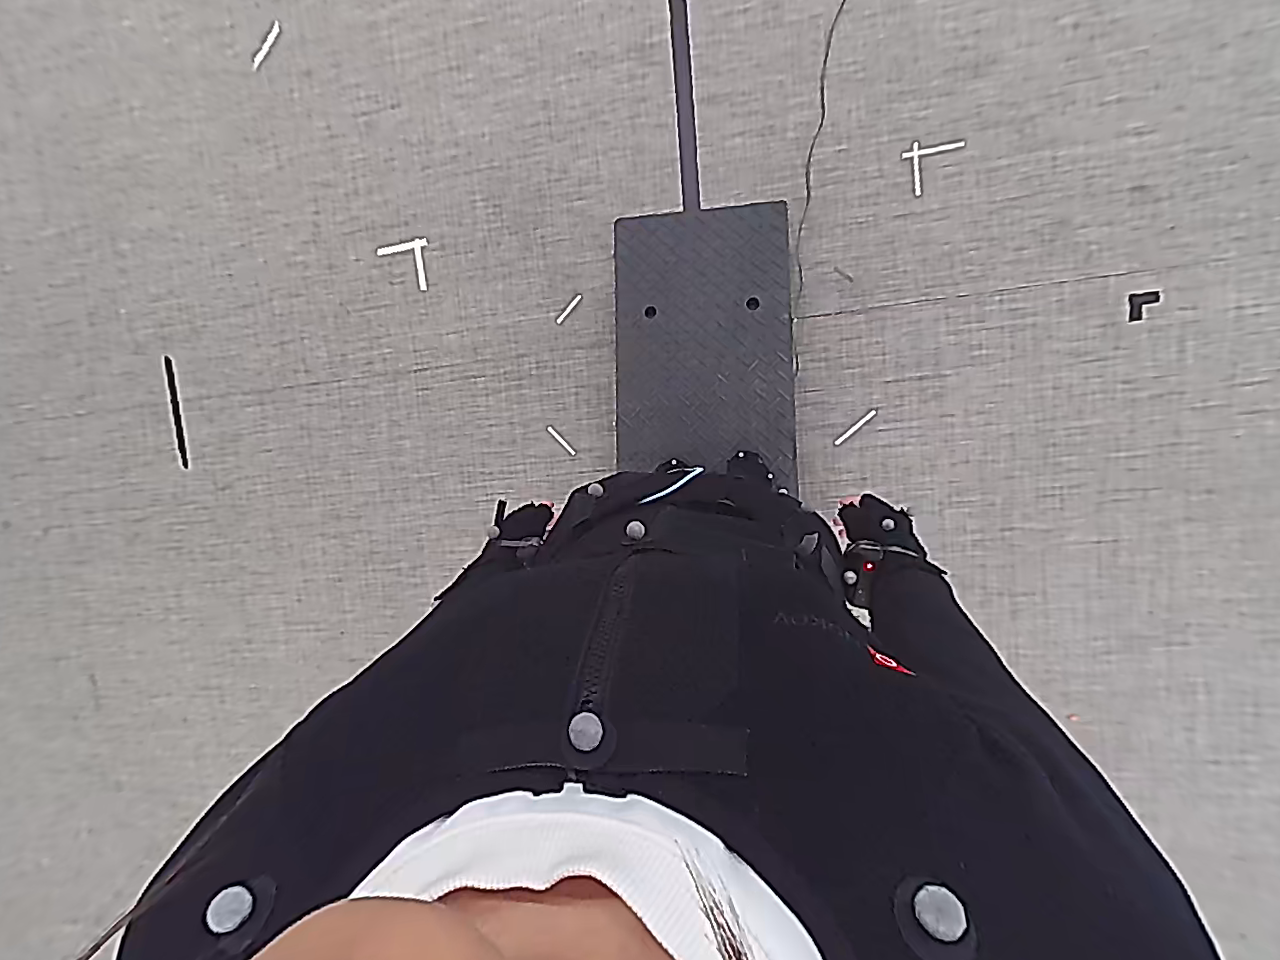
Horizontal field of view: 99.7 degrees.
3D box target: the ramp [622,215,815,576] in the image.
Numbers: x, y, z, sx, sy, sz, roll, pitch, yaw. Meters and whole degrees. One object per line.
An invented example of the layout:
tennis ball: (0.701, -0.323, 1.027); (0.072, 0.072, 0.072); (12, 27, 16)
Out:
ramp: (0.197, -0.242, 1.506); (0.509, 0.206, 0.991); (-5, 92, 12)
